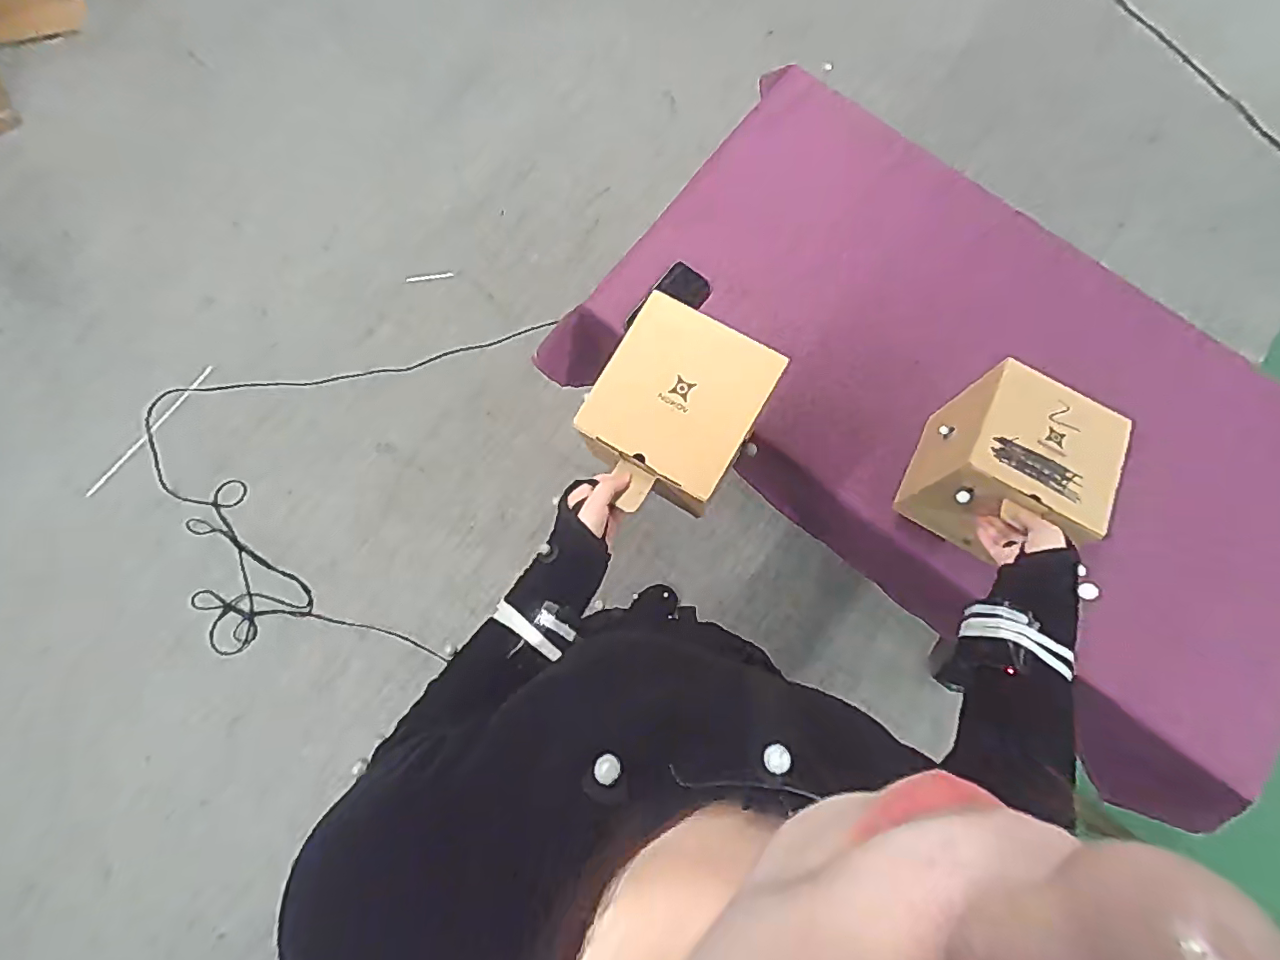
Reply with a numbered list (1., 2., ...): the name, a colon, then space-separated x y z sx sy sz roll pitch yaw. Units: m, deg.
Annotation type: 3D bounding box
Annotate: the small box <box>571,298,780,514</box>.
1. small box: 0.042 -0.075 0.649 0.168 0.176 0.179 29 85 8
